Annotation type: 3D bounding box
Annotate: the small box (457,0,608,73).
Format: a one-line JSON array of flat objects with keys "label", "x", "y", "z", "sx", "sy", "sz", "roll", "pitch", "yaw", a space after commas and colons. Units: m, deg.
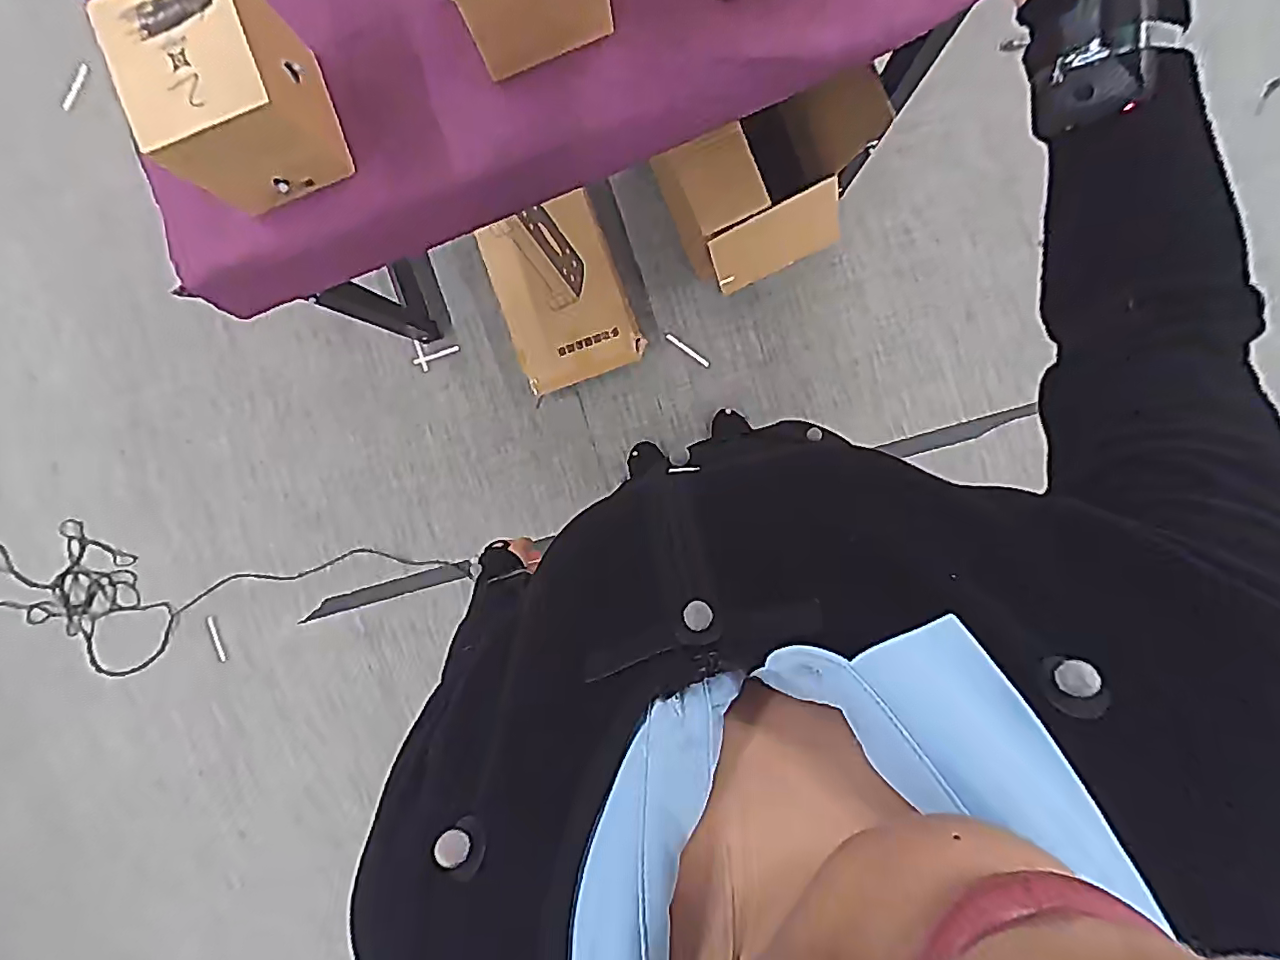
[{"label": "small box", "x": -0.144, "y": -0.639, "z": 0.636, "sx": 0.179, "sy": 0.176, "sz": 0.168, "roll": -19, "pitch": 91, "yaw": 5}]
